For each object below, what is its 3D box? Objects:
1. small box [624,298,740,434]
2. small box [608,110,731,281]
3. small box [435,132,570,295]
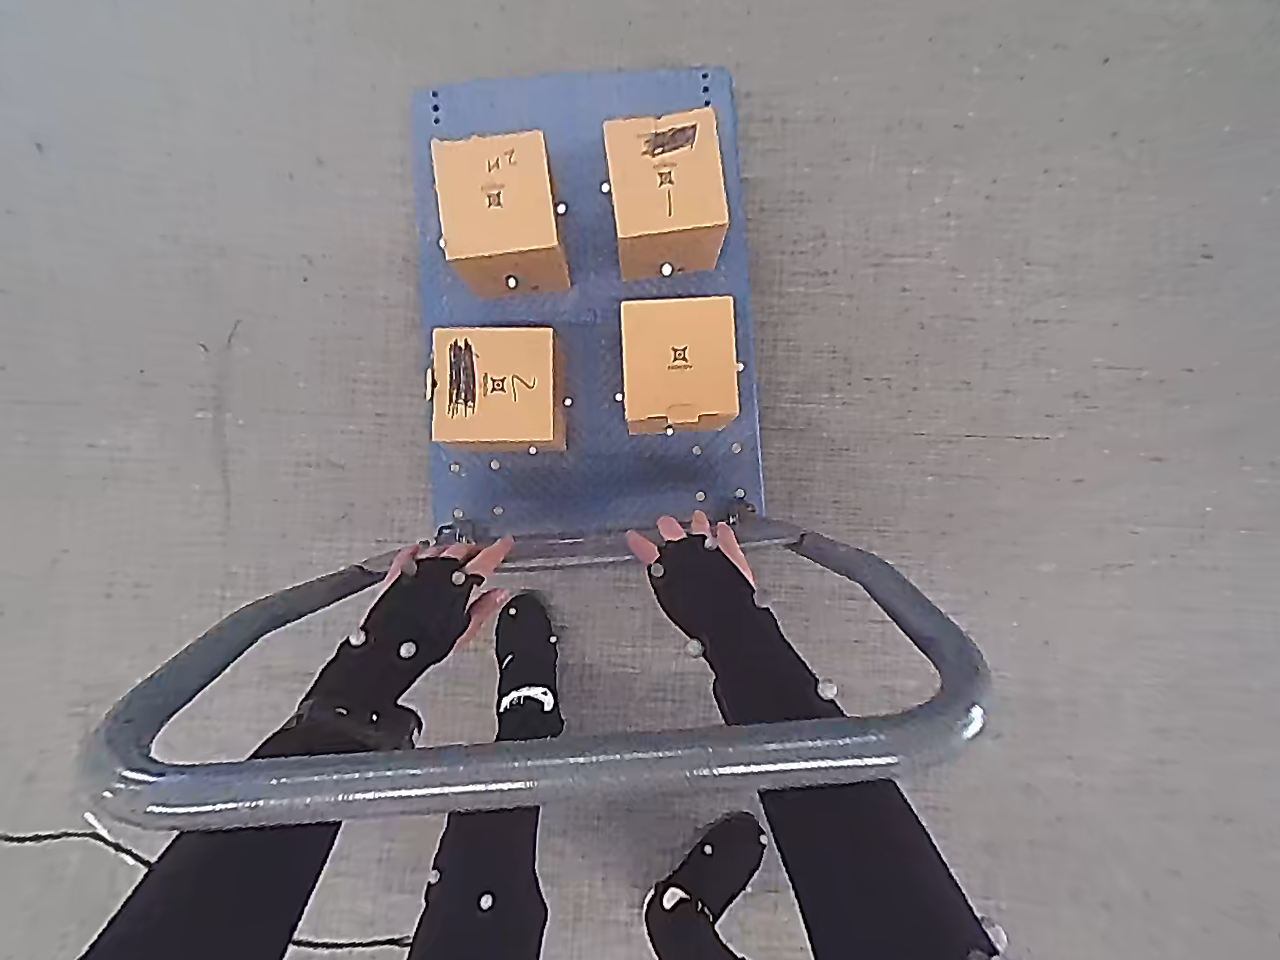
[{"bbox_3d":[0.059,-0.172,0.858,0.168,0.176,0.179,-3,89,0],"label":"small box"},{"bbox_3d":[0.042,-0.442,0.863,0.168,0.176,0.179,-7,90,0],"label":"small box"},{"bbox_3d":[-0.208,-0.409,0.862,0.168,0.176,0.179,-7,89,-1],"label":"small box"}]
